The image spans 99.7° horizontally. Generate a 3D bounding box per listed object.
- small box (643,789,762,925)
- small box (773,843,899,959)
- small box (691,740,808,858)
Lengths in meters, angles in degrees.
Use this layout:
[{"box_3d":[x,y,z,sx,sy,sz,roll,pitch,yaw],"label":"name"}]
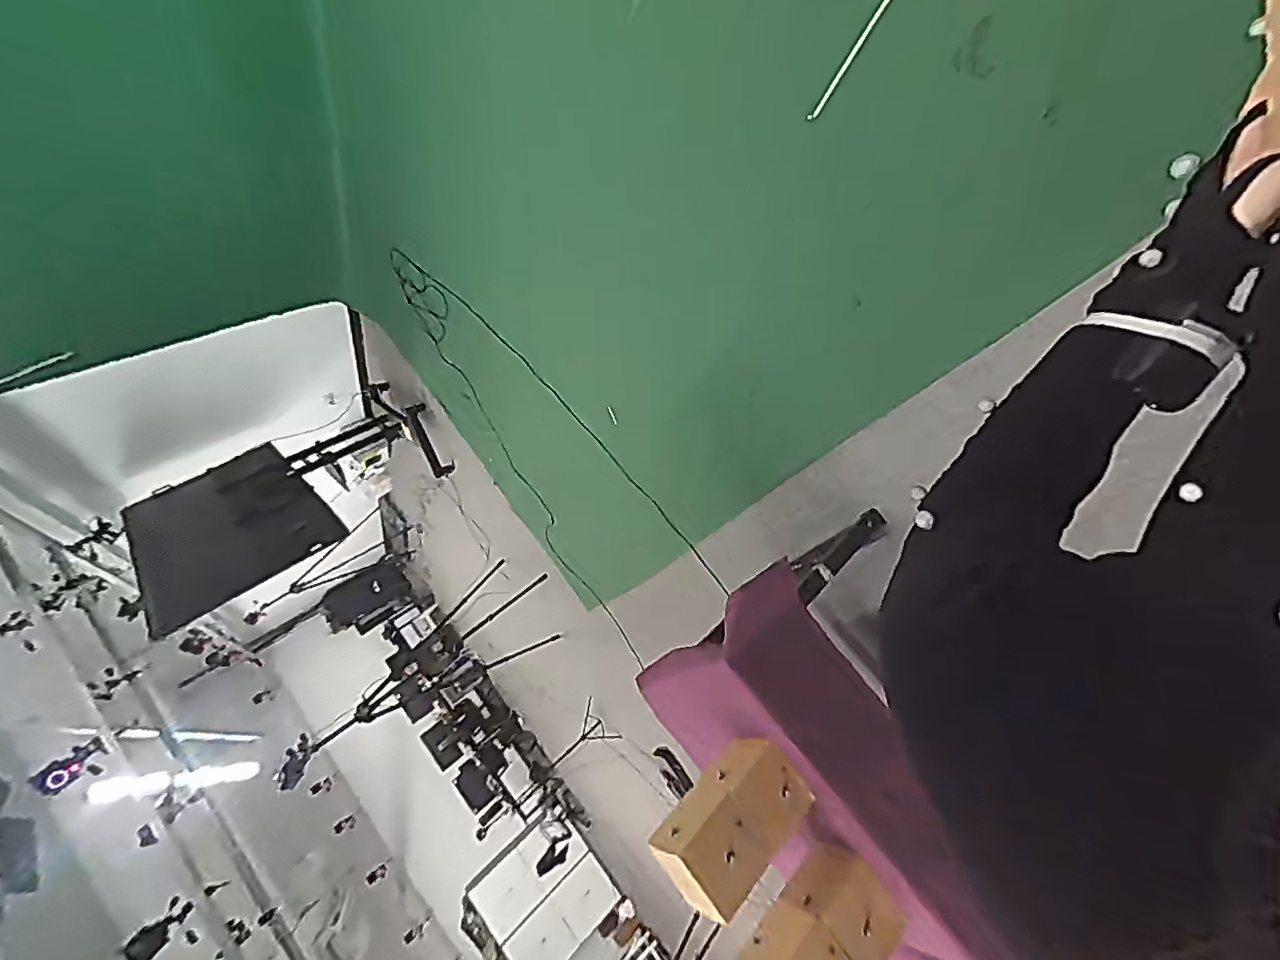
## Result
[{"box_3d":[0.142,0.817,1.194,0.168,0.176,0.179,53,147,7],"label":"small box"},{"box_3d":[0.450,0.984,1.236,0.179,0.176,0.168,53,148,6],"label":"small box"},{"box_3d":[0.259,0.742,1.283,0.168,0.176,0.179,53,147,5],"label":"small box"}]
